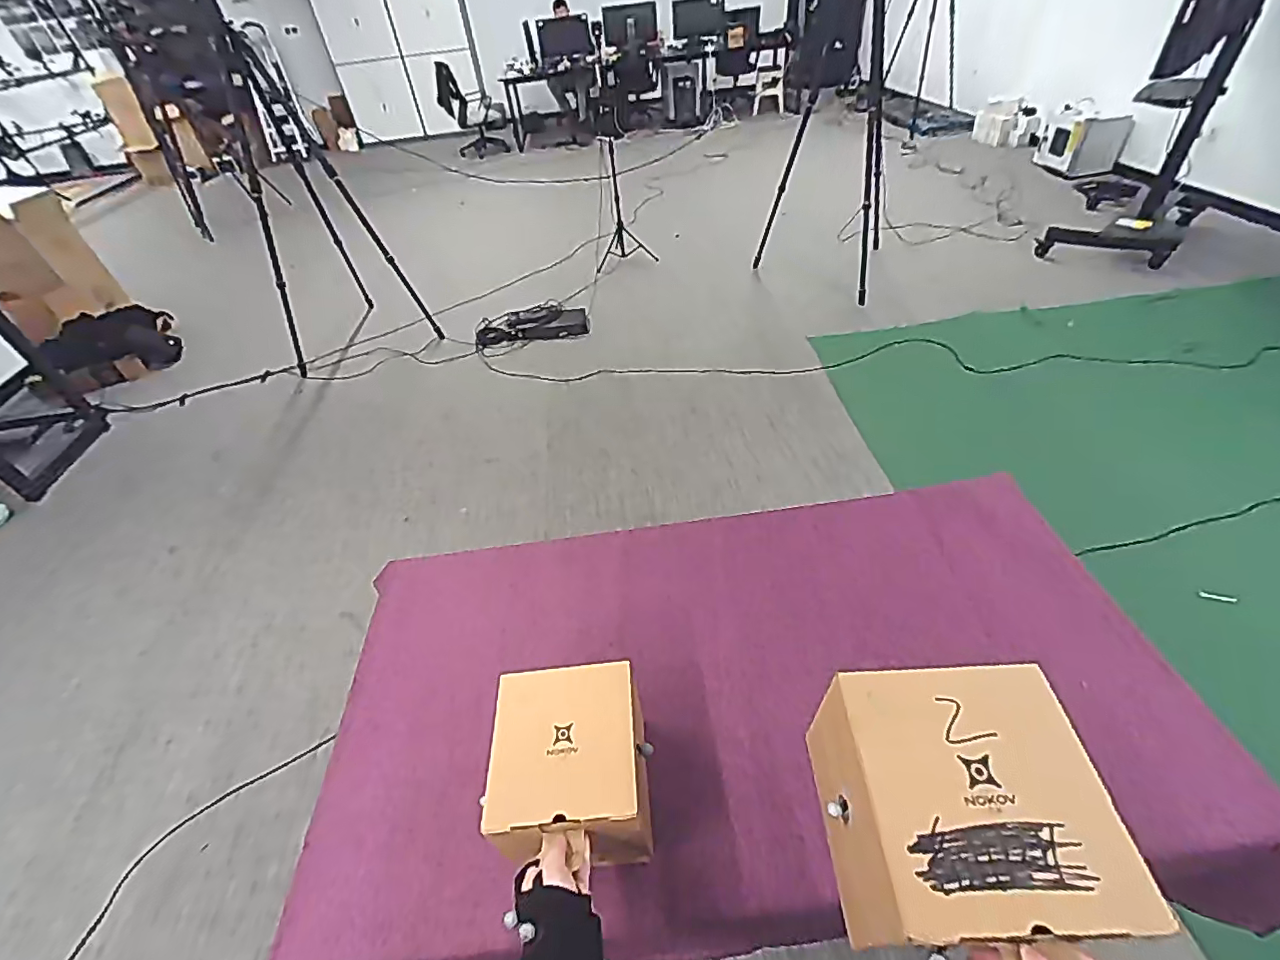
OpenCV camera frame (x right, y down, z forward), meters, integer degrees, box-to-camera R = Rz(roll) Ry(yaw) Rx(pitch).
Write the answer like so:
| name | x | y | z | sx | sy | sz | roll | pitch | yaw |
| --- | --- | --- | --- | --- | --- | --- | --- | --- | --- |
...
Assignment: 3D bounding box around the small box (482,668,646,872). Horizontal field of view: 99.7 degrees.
| name | x | y | z | sx | sy | sz | roll | pitch | yaw |
| --- | --- | --- | --- | --- | --- | --- | --- | --- | --- |
| small box | -0.084 | 0.365 | 0.683 | 0.168 | 0.176 | 0.179 | -7 | 43 | 1 |
